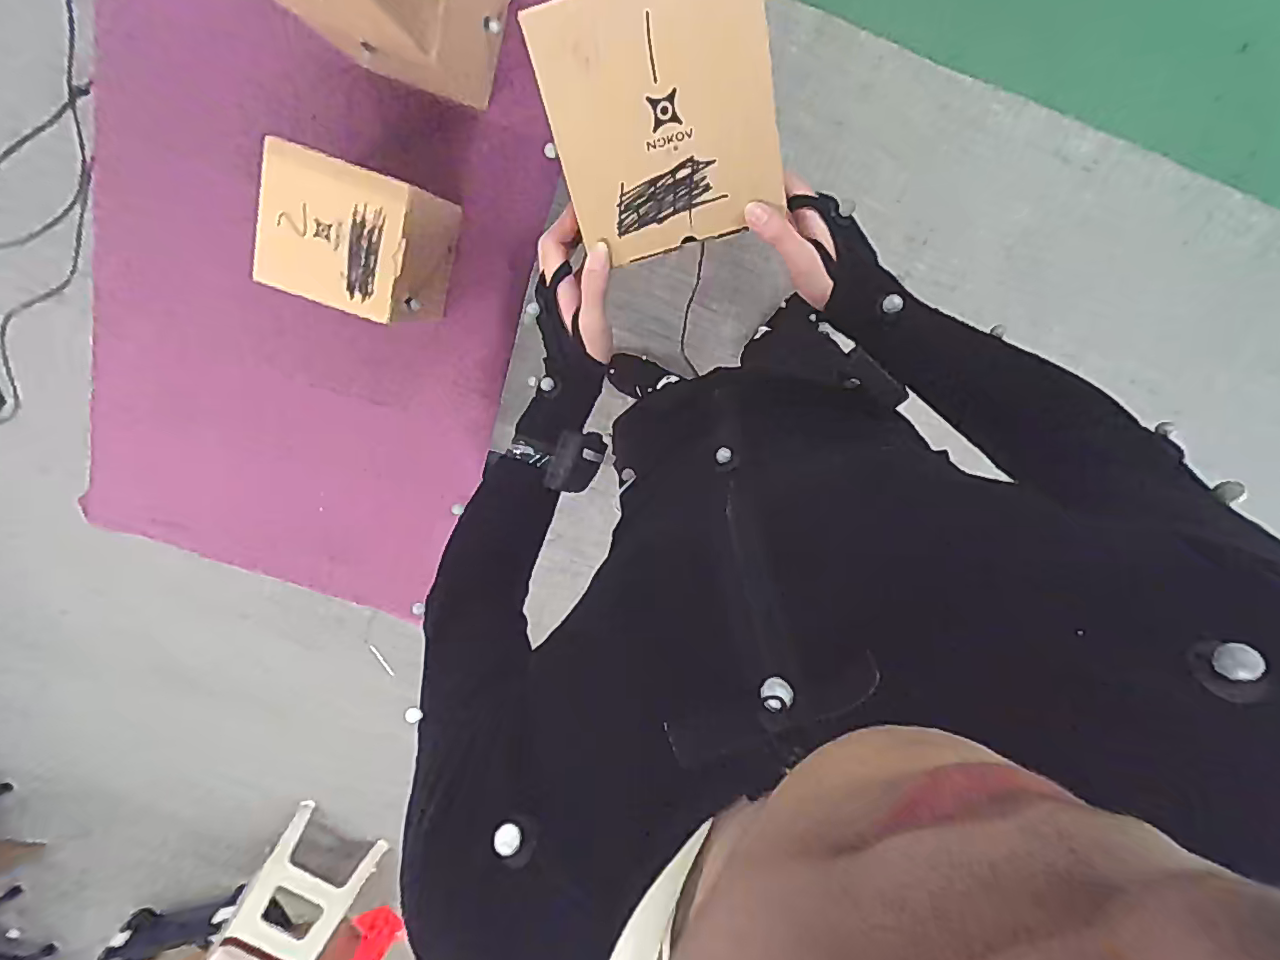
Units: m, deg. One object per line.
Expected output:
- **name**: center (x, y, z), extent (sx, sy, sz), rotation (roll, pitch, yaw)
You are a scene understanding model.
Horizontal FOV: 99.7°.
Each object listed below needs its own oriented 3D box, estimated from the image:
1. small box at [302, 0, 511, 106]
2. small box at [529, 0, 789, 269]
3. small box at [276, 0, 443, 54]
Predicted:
- **small box**: center (-0.272, -0.576, 0.633), extent (0.179, 0.176, 0.168), rotation (19, 109, -3)
- **small box**: center (0.019, -0.305, 0.467), extent (0.168, 0.176, 0.179), rotation (-14, 121, 4)
- **small box**: center (-0.284, -0.526, 0.478), extent (0.179, 0.176, 0.168), rotation (19, 107, -3)
